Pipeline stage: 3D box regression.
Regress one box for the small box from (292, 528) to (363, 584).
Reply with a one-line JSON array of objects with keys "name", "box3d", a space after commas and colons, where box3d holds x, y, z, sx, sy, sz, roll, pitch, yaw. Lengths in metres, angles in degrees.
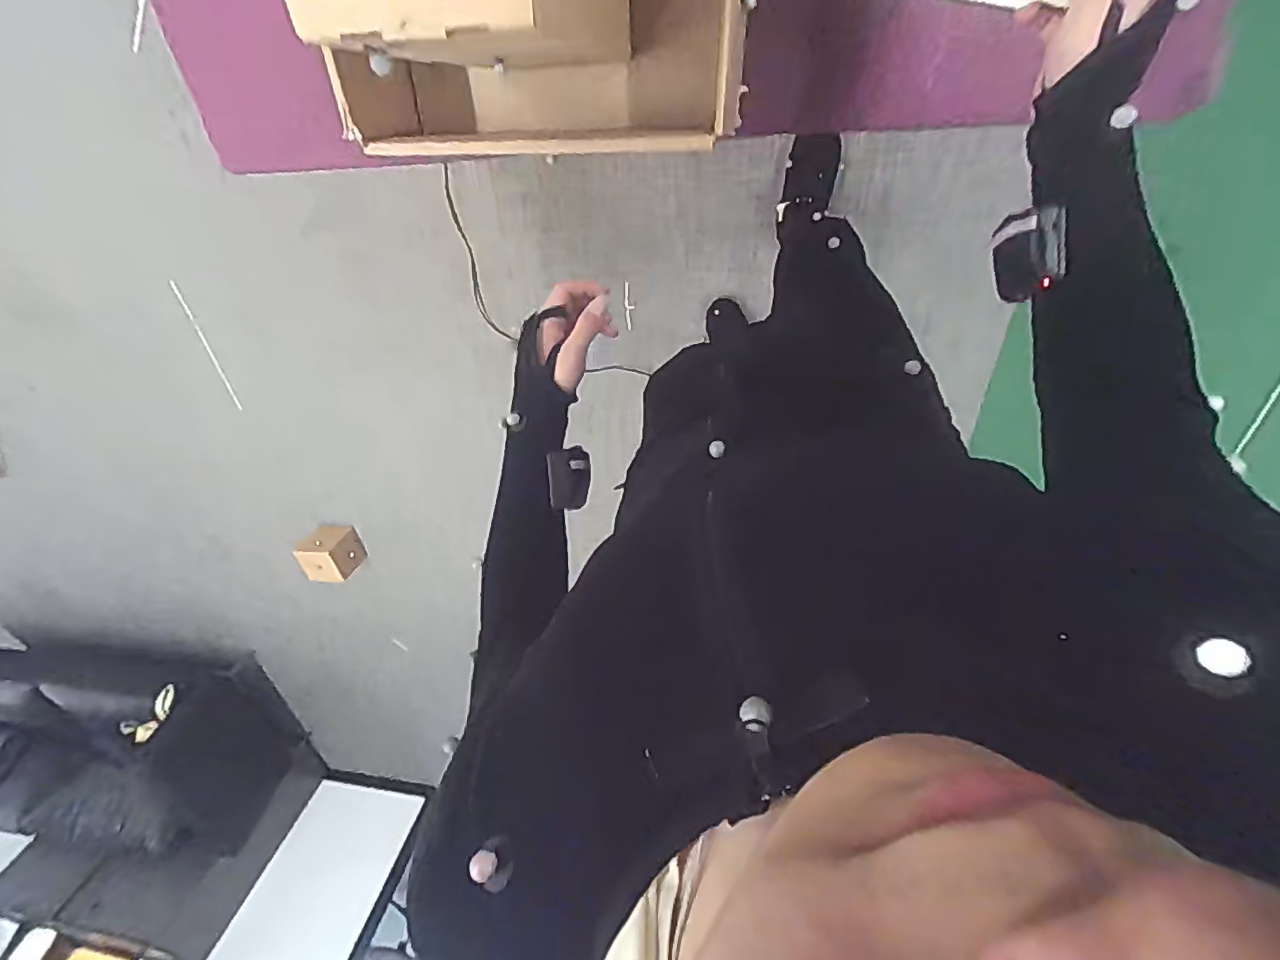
[{"name": "small box", "box3d": [-1.303, 0.316, 2.274, 0.179, 0.176, 0.168, 0, 123, 13]}]
